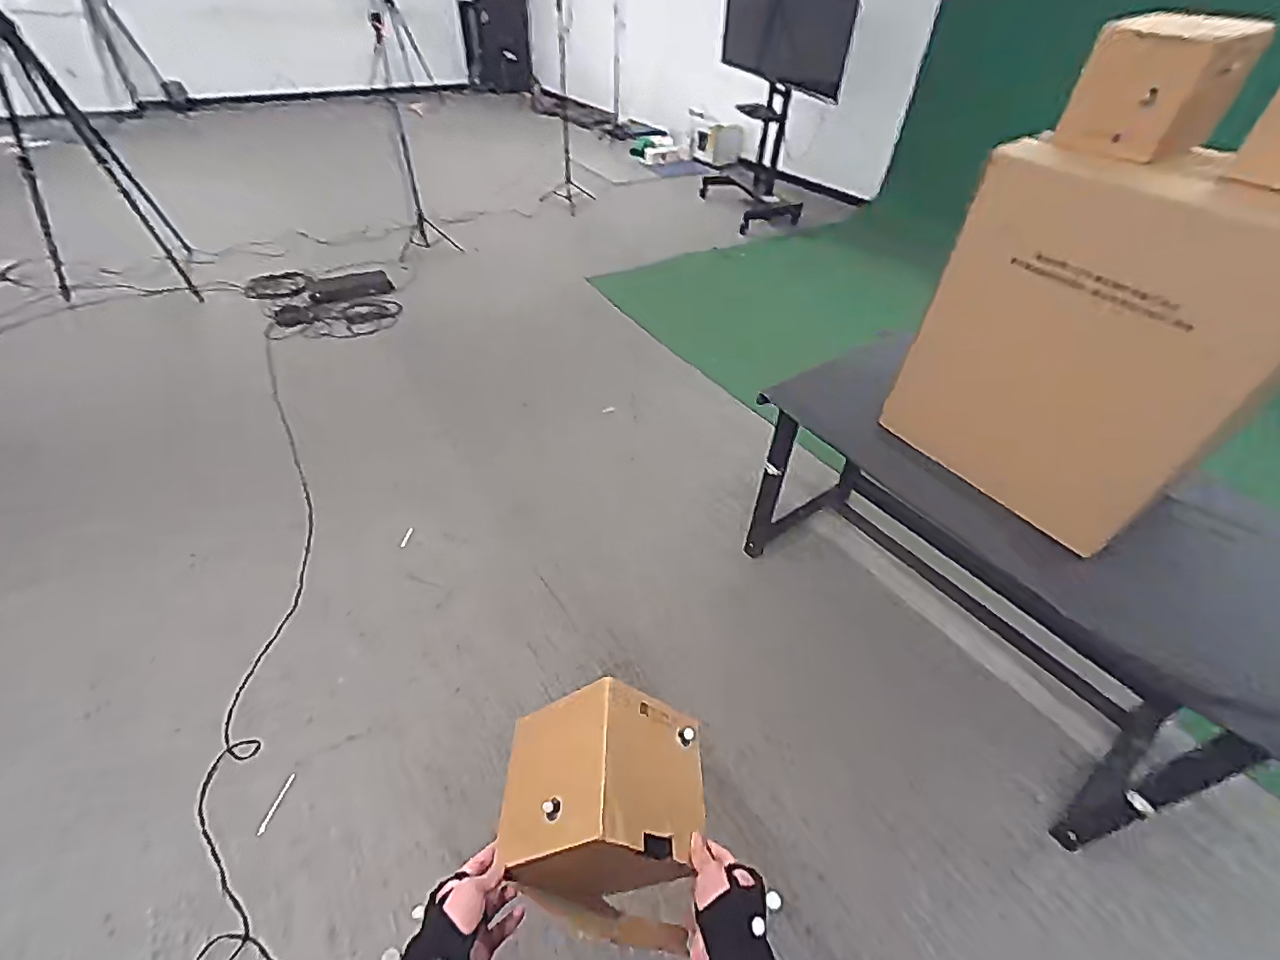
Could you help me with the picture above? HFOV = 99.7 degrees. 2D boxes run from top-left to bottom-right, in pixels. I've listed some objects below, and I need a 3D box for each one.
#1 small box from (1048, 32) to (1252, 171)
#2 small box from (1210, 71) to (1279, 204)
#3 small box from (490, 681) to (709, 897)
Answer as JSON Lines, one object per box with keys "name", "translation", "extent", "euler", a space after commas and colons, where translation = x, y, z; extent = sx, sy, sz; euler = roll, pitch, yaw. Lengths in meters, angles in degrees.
{"name": "small box", "translation": [0.855, -0.650, 0.931], "extent": [0.179, 0.176, 0.168], "euler": [-22, 50, -21]}
{"name": "small box", "translation": [1.002, -0.501, 0.778], "extent": [0.168, 0.176, 0.179], "euler": [-26, 49, -23]}
{"name": "small box", "translation": [-0.044, 0.357, 0.626], "extent": [0.168, 0.179, 0.176], "euler": [38, 32, -30]}
